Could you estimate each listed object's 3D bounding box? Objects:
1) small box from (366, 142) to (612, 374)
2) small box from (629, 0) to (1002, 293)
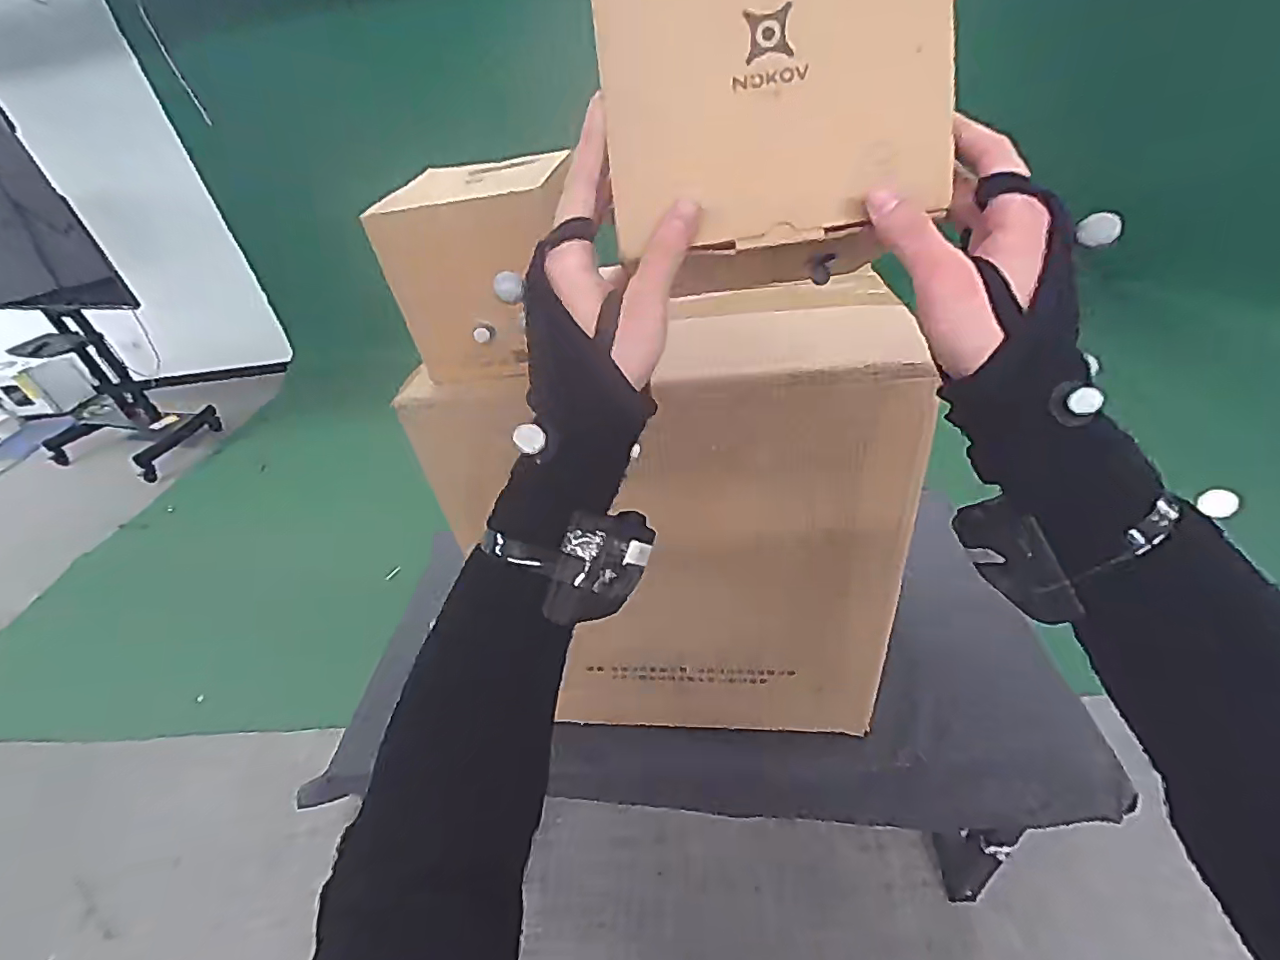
[{"bbox_3d":[-0.130,-0.224,0.549,0.168,0.176,0.179,-2,40,11],"label":"small box"},{"bbox_3d":[0.085,-0.217,0.326,0.168,0.179,0.176,-5,10,5],"label":"small box"}]
